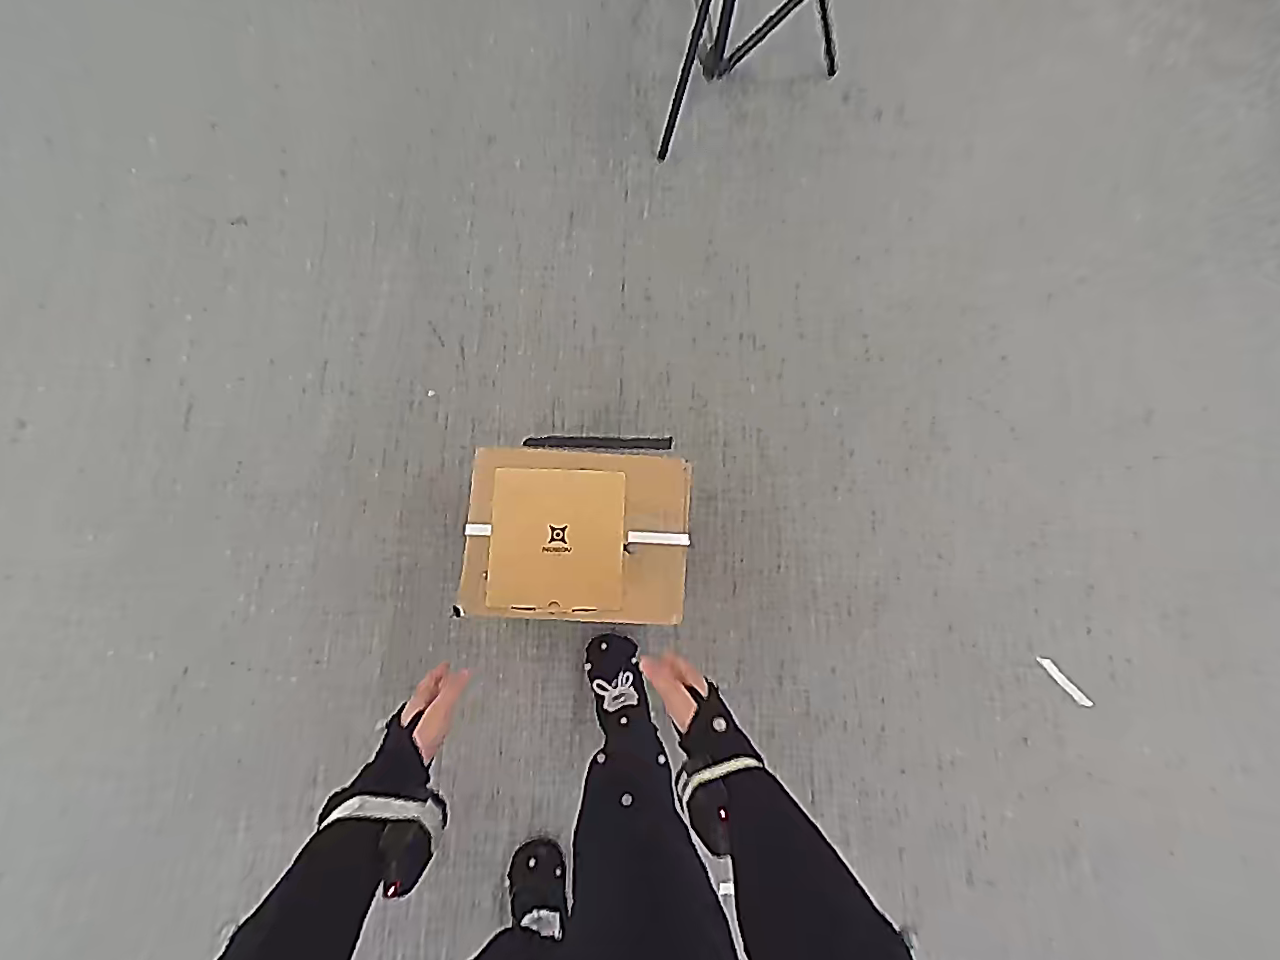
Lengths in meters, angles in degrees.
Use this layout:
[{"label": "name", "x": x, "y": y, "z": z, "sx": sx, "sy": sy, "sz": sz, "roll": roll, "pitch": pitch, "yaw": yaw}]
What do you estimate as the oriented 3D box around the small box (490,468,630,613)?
[{"label": "small box", "x": -0.101, "y": 0.085, "z": 0.745, "sx": 0.168, "sy": 0.176, "sz": 0.179, "roll": 2, "pitch": 82, "yaw": -2}]
